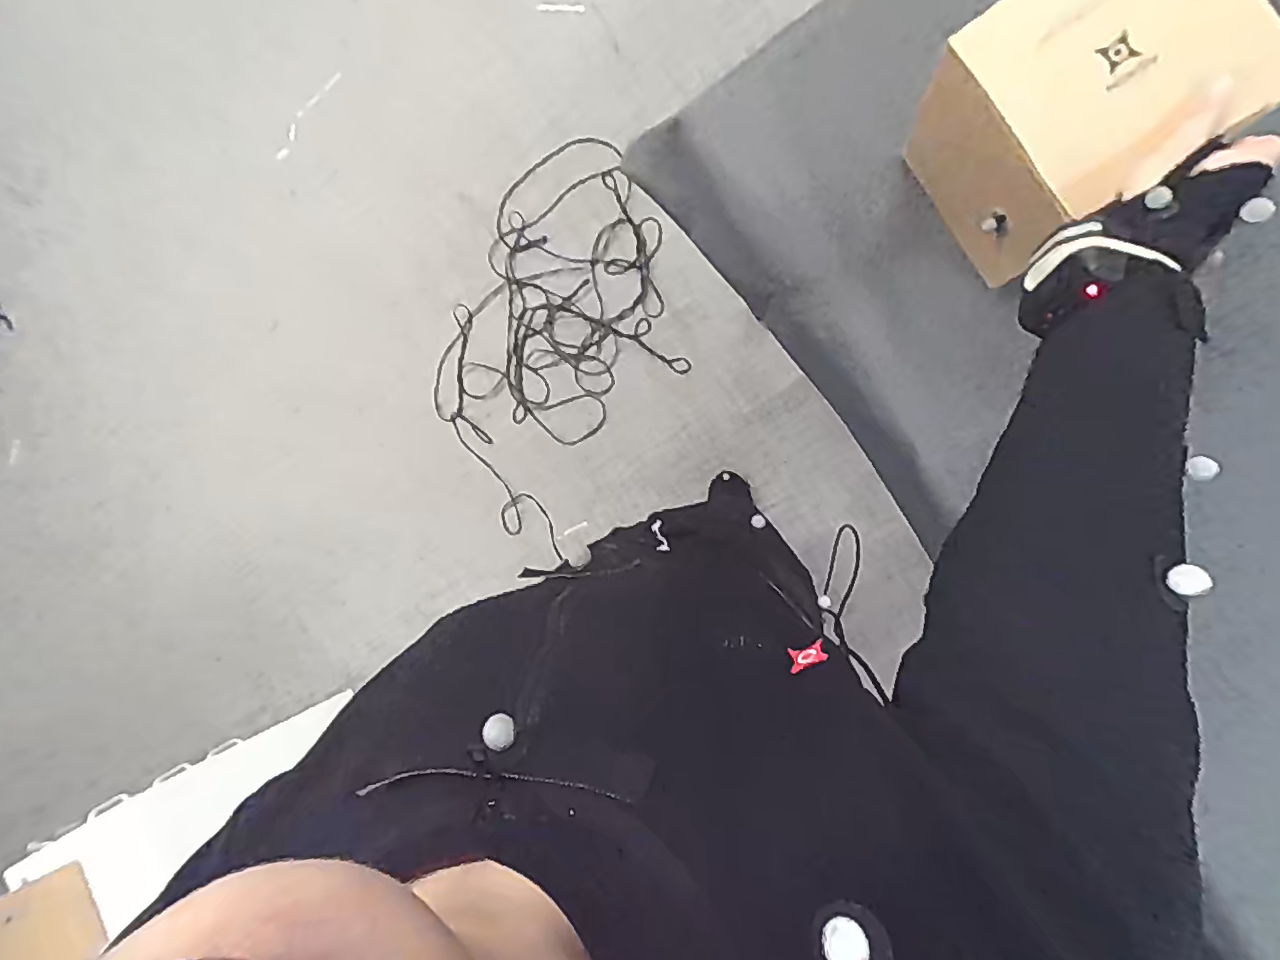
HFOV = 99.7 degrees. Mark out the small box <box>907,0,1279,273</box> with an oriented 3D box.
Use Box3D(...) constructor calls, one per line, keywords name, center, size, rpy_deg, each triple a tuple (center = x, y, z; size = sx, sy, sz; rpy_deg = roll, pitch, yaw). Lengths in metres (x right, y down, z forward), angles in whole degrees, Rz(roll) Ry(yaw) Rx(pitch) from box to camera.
Box3D(name="small box", center=(0.367, -0.306, 0.468), size=(0.168, 0.176, 0.179), rpy_deg=(-31, 85, 12))
